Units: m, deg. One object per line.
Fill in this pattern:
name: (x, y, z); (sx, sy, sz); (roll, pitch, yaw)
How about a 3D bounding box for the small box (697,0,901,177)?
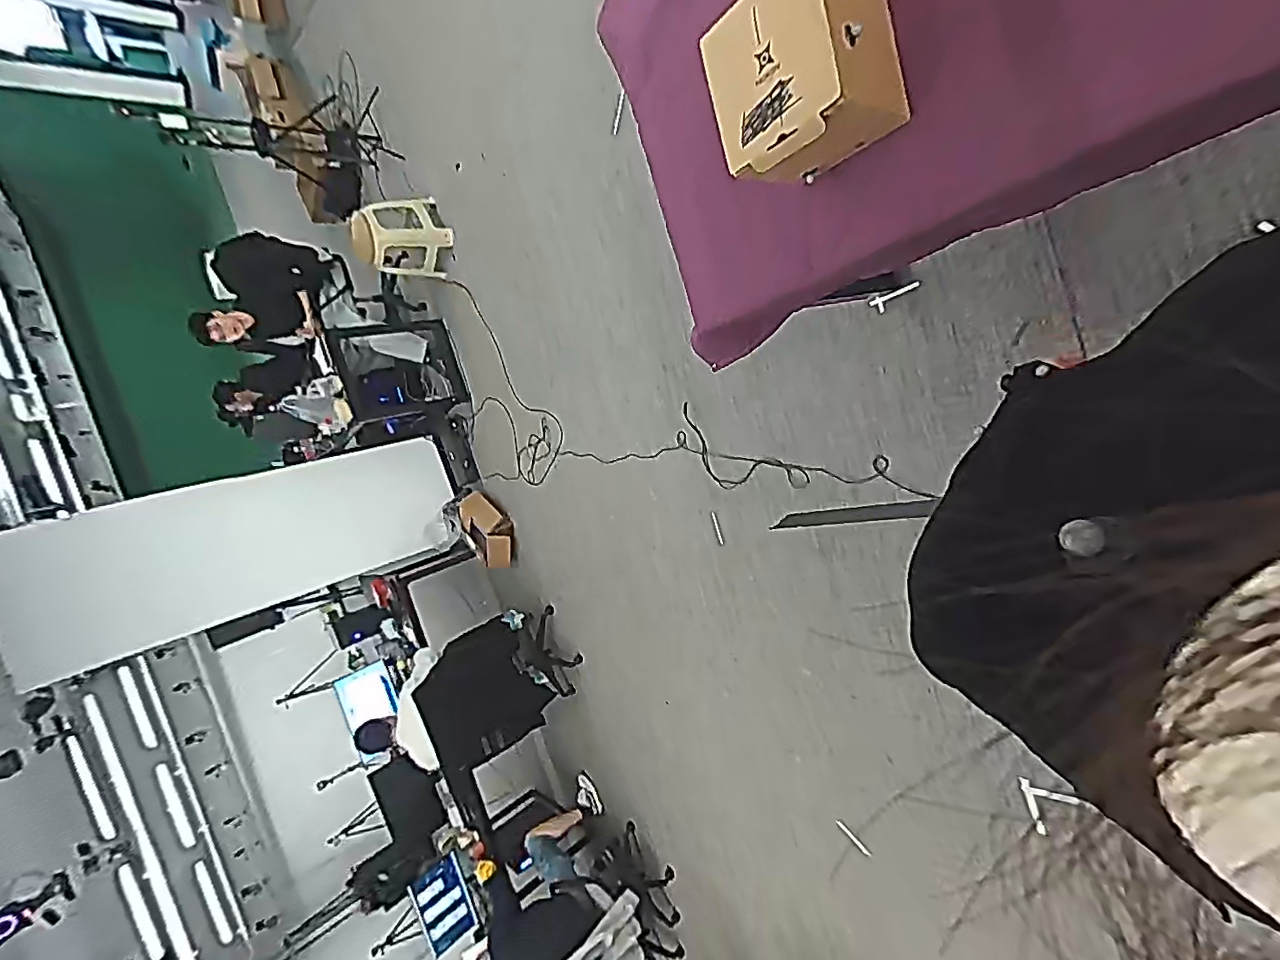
small box: (0.205, -0.510, 0.686); (0.168, 0.176, 0.179); (-8, 99, 51)
